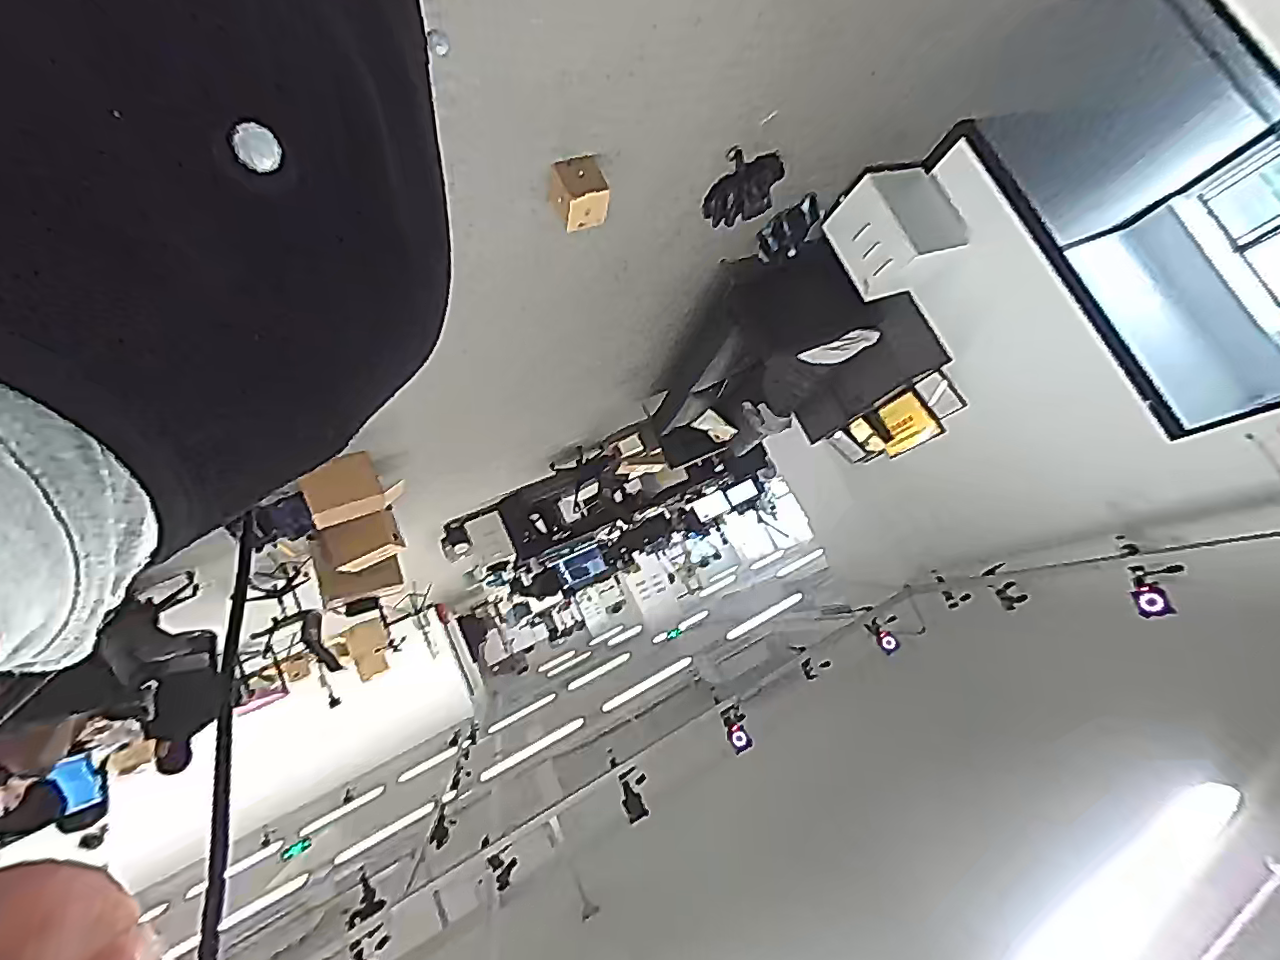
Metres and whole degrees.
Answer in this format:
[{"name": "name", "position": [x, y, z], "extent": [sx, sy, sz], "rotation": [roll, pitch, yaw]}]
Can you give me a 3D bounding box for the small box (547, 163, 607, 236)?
[{"name": "small box", "position": [-0.243, -1.072, 2.054], "extent": [0.168, 0.176, 0.179], "rotation": [-24, 170, -18]}]
